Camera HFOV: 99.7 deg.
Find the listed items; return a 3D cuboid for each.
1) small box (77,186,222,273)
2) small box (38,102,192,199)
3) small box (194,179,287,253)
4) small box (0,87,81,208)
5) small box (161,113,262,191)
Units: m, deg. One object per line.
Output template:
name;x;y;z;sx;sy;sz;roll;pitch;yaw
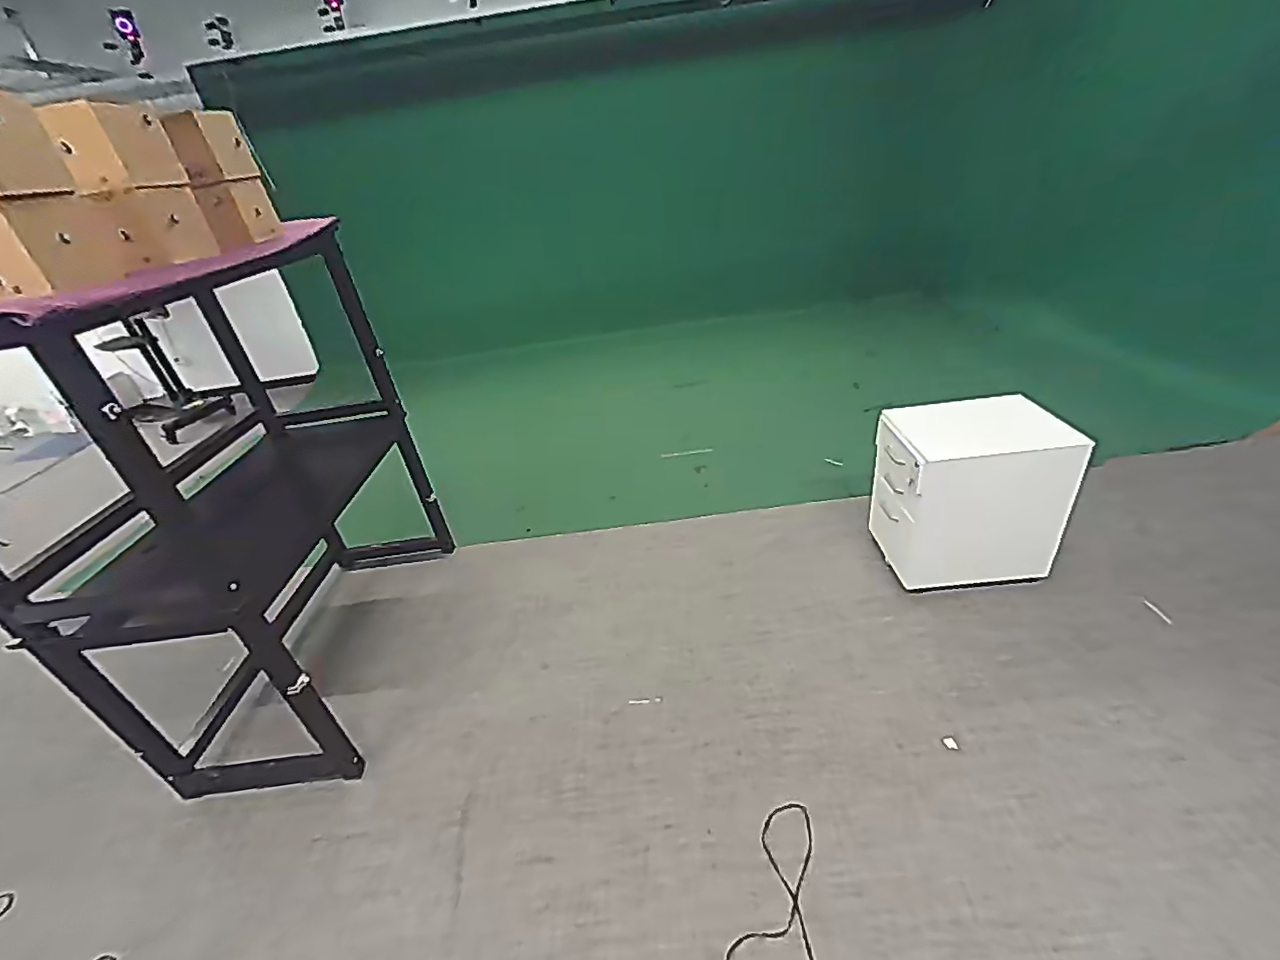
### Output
small box;-1.194;-0.617;1.338;0.168;0.176;0.179;-6;32;3
small box;-1.211;-0.758;1.257;0.168;0.176;0.179;-5;30;6
small box;-1.215;-0.794;1.628;0.179;0.176;0.168;-8;32;4
small box;-1.178;-0.586;0.960;0.168;0.176;0.179;-9;30;-2
small box;-1.226;-0.930;1.539;0.168;0.176;0.179;-9;34;4
